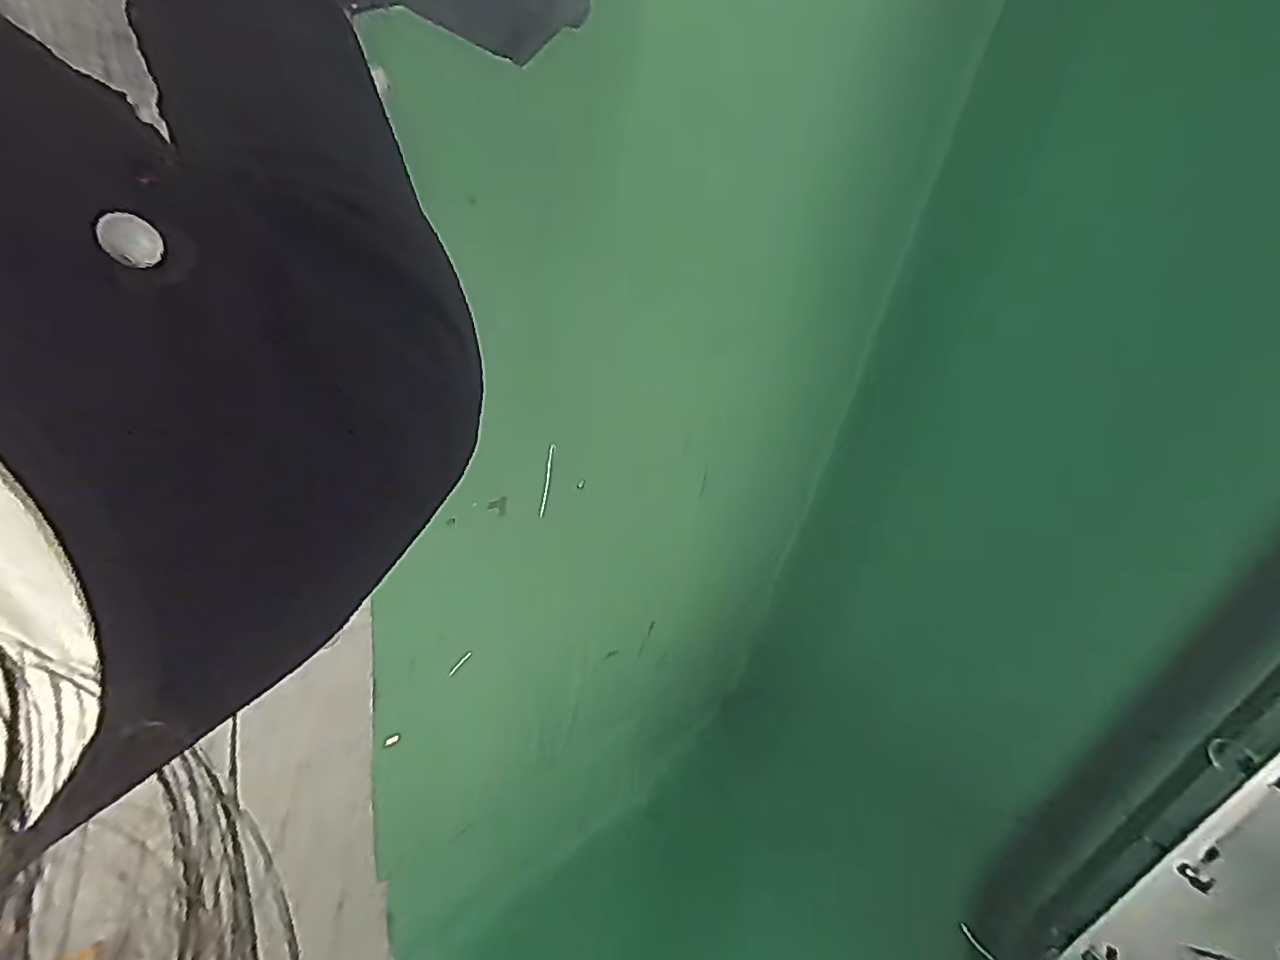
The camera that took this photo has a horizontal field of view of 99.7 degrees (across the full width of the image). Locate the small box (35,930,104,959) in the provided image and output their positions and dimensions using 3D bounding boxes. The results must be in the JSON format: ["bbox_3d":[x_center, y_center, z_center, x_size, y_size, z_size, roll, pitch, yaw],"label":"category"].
[{"bbox_3d":[-1.650,1.455,1.539,0.179,0.176,0.168,-9,125,-47],"label":"small box"}]
